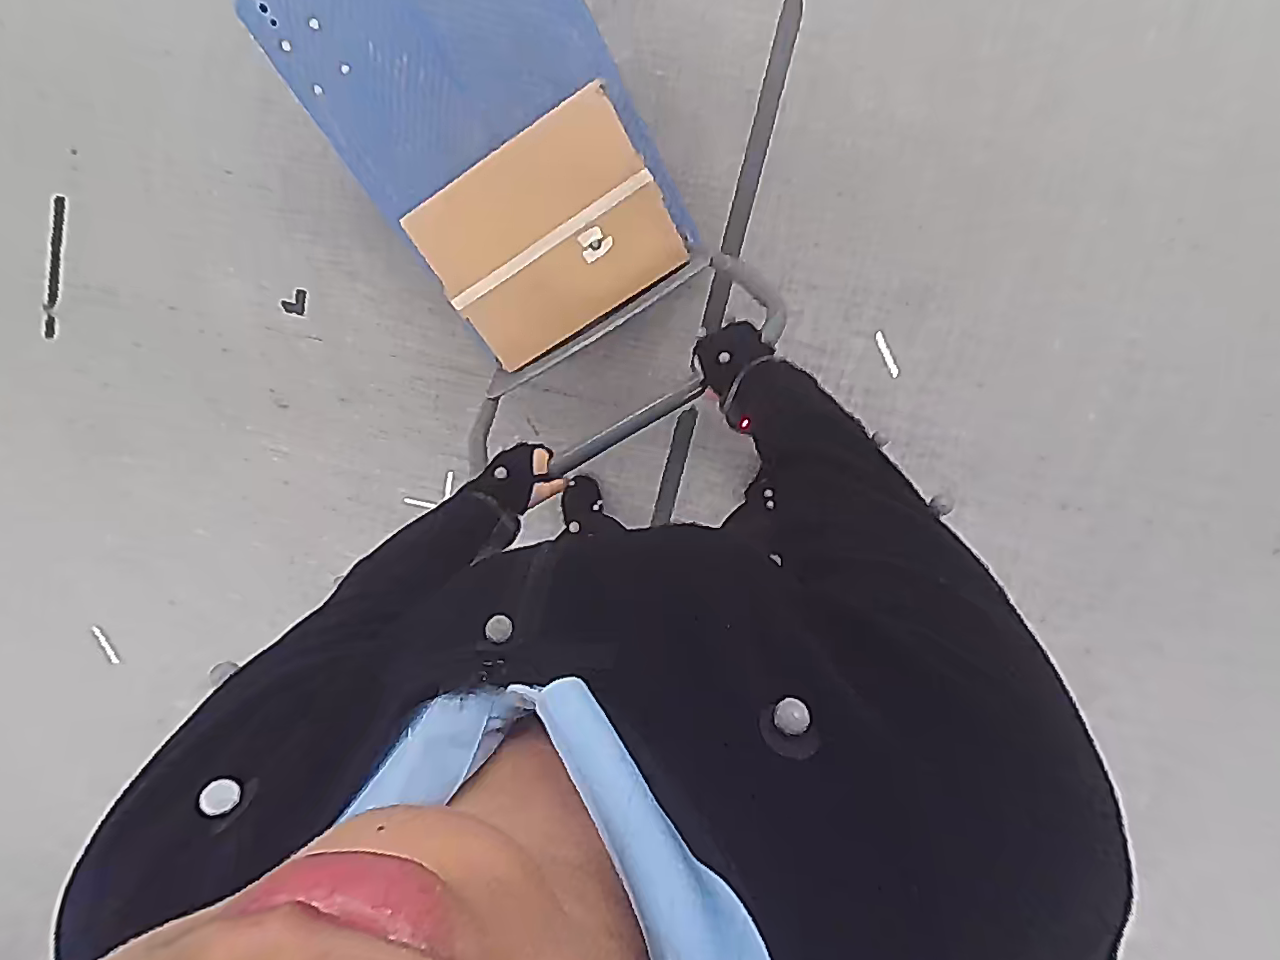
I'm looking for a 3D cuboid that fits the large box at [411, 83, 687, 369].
[{"bbox_3d":[-0.171,-0.489,1.099,0.408,0.320,0.320,-31,115,8],"label":"large box"}]
